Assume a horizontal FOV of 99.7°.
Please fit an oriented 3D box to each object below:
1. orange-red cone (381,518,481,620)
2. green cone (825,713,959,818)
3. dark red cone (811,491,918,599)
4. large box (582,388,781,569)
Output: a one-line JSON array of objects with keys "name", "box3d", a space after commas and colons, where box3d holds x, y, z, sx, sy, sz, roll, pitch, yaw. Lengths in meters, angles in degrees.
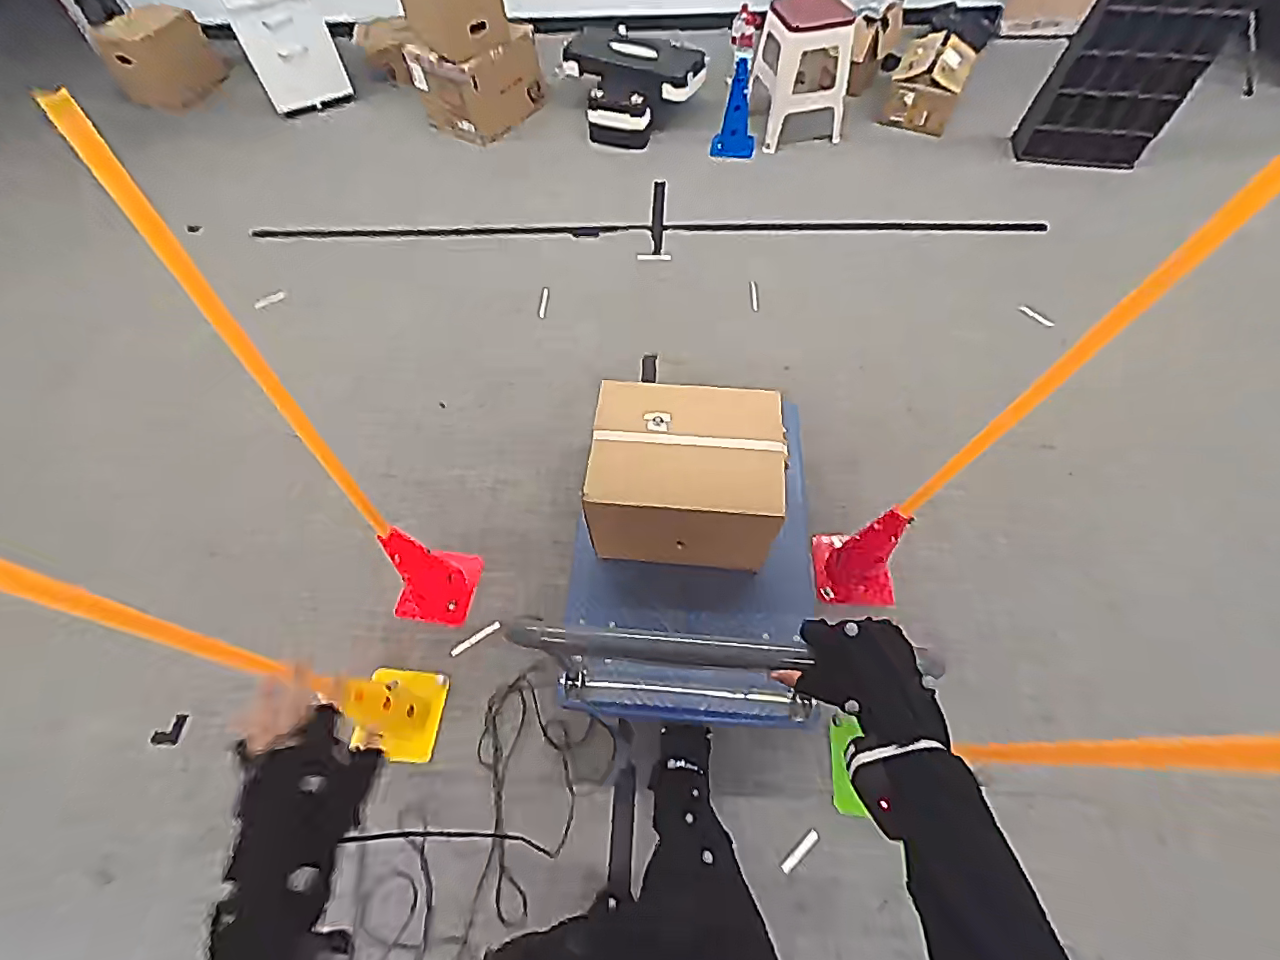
[{"name": "orange-red cone", "box3d": [-0.557, 0.190, 1.348, 0.198, 0.360, 0.199, 9, 59, 5]}, {"name": "green cone", "box3d": [0.532, 0.566, 1.098, 0.202, 0.368, 0.200, 6, 60, 3]}, {"name": "dark red cone", "box3d": [0.576, 0.141, 1.328, 0.201, 0.394, 0.202, 3, 60, 1]}, {"name": "large box", "box3d": [0.100, 0.006, 1.274, 0.408, 0.320, 0.320, 4, 61, 5]}]
